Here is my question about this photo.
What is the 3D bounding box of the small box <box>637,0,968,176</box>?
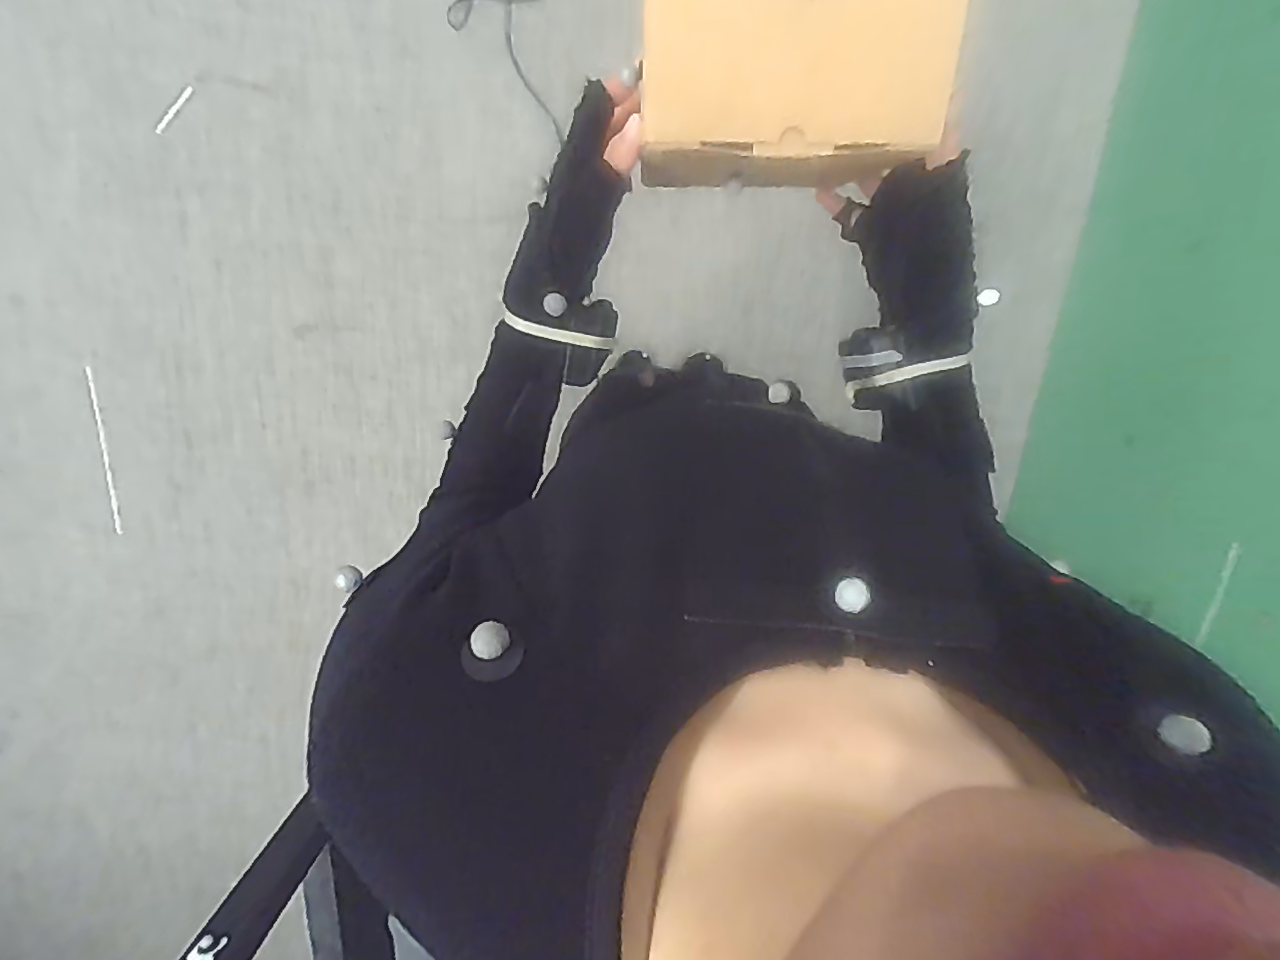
[{"bbox_3d":[0.081,-0.297,0.330,0.168,0.176,0.179,0,113,1],"label":"small box"}]
